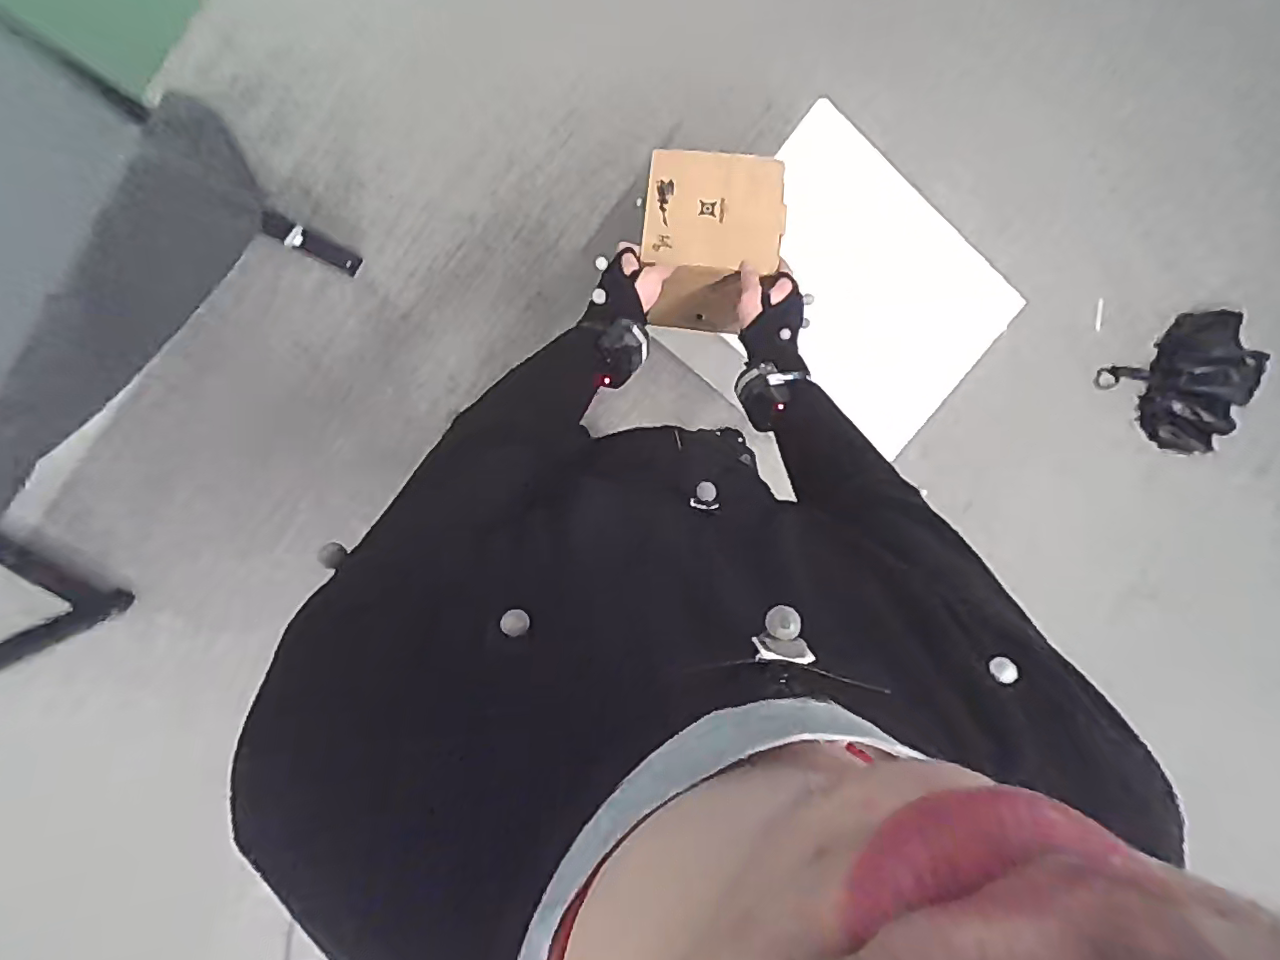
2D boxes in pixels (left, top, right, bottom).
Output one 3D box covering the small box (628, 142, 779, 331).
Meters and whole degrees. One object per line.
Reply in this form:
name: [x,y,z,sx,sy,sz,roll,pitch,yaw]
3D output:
small box: [0.079,-0.321,0.744,0.179,0.176,0.168,6,78,-1]
